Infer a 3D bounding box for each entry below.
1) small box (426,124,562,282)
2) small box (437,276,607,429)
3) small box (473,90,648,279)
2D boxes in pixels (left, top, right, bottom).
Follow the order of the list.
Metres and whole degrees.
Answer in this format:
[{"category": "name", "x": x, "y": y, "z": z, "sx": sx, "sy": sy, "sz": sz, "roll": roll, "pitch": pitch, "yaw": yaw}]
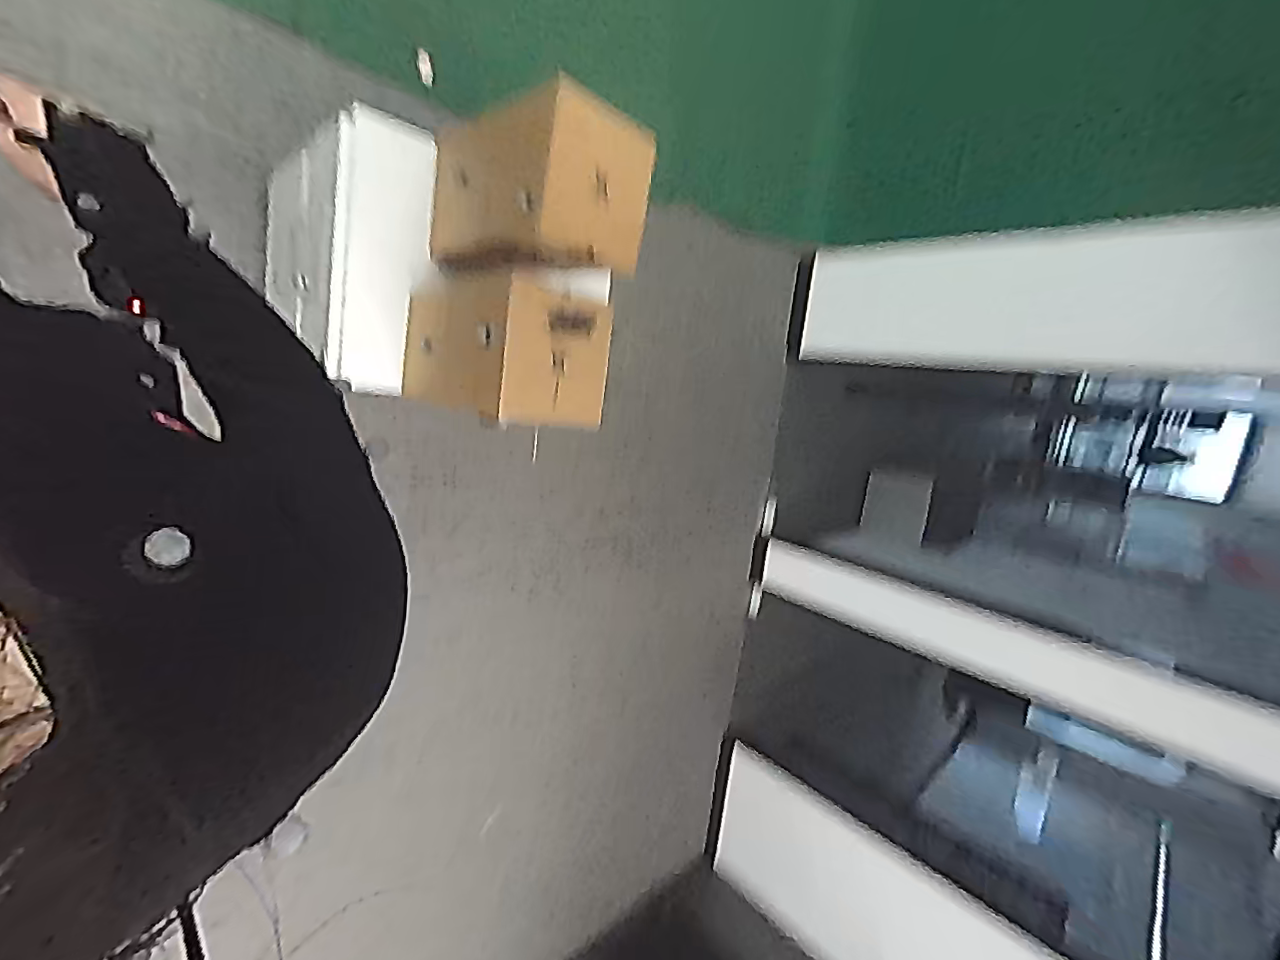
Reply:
[{"category": "small box", "x": -0.228, "y": -0.429, "z": 0.873, "sx": 0.168, "sy": 0.176, "sz": 0.179, "roll": -1, "pitch": 104, "yaw": -45}, {"category": "small box", "x": -0.170, "y": -0.172, "z": 0.765, "sx": 0.168, "sy": 0.176, "sz": 0.179, "roll": 0, "pitch": 100, "yaw": -46}, {"category": "small box", "x": -0.116, "y": -0.394, "z": 0.758, "sx": 0.168, "sy": 0.176, "sz": 0.179, "roll": 1, "pitch": 103, "yaw": -46}]
